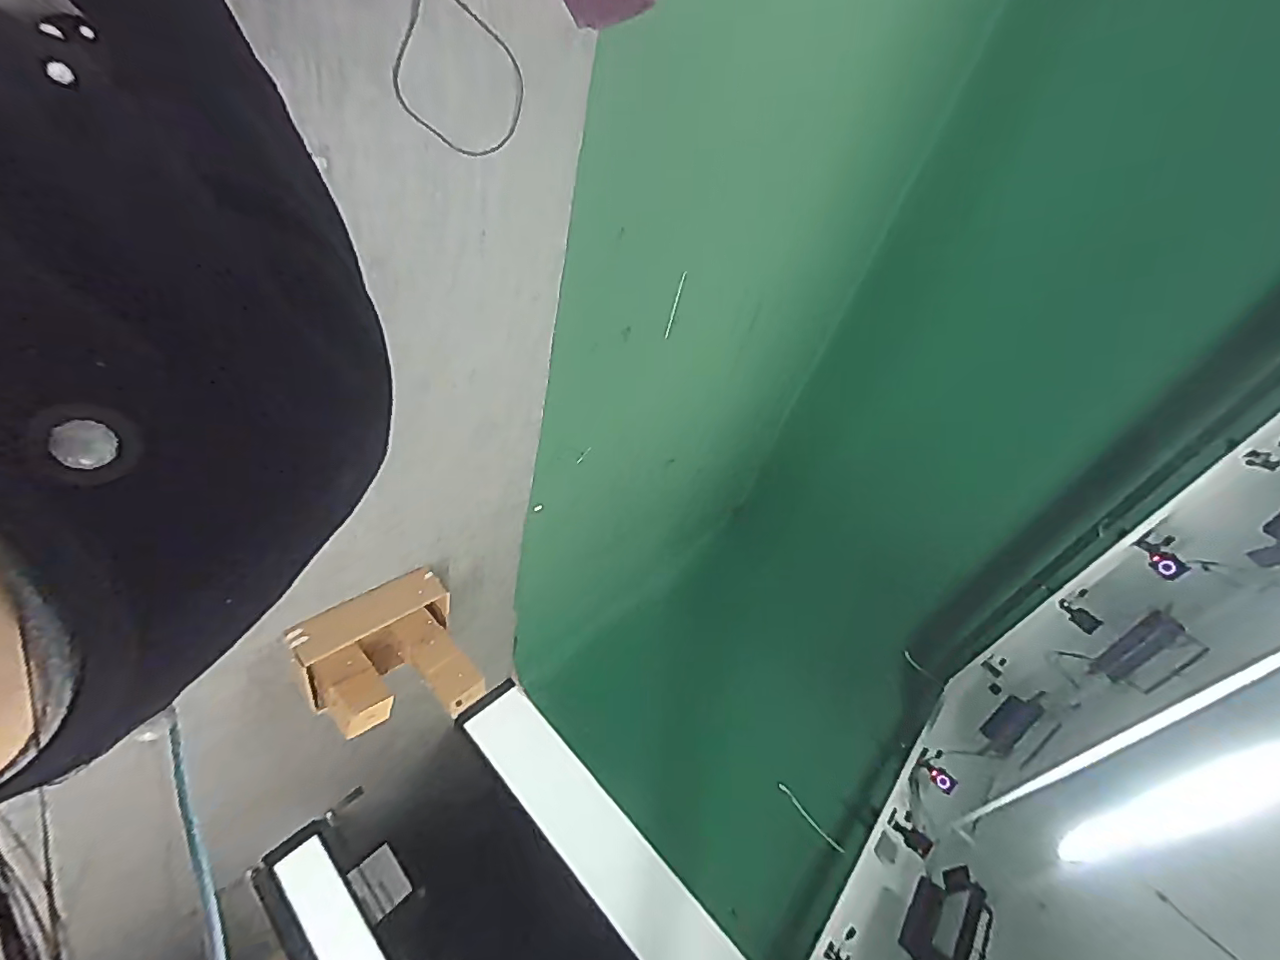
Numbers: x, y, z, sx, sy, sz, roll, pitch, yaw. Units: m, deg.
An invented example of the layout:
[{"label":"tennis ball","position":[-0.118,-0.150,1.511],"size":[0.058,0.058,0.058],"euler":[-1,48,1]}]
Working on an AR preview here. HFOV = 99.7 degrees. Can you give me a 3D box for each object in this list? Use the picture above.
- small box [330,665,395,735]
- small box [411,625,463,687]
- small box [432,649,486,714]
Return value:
[{"label":"small box","position":[-1.154,0.907,2.245],"size":[0.179,0.176,0.168],"euler":[-17,139,-50]},{"label":"small box","position":[-0.928,0.800,2.472],"size":[0.168,0.176,0.179],"euler":[-30,148,-40]},{"label":"small box","position":[-0.809,0.897,2.411],"size":[0.179,0.176,0.168],"euler":[-32,151,-37]}]
